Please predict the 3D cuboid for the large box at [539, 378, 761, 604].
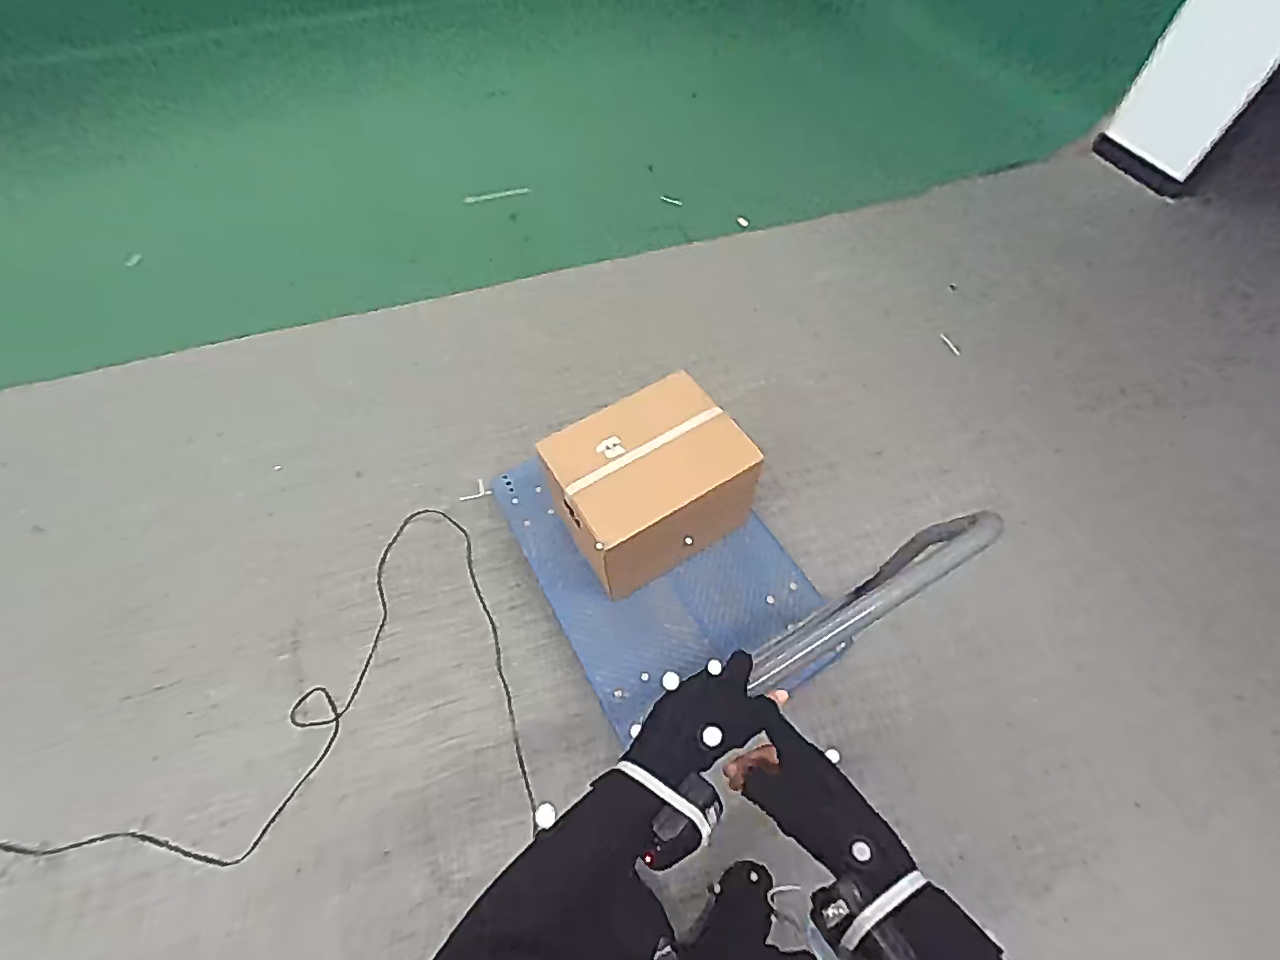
[{"bbox_3d":[0.026,0.031,1.311,0.408,0.320,0.320,-29,60,-14],"label":"large box"}]
